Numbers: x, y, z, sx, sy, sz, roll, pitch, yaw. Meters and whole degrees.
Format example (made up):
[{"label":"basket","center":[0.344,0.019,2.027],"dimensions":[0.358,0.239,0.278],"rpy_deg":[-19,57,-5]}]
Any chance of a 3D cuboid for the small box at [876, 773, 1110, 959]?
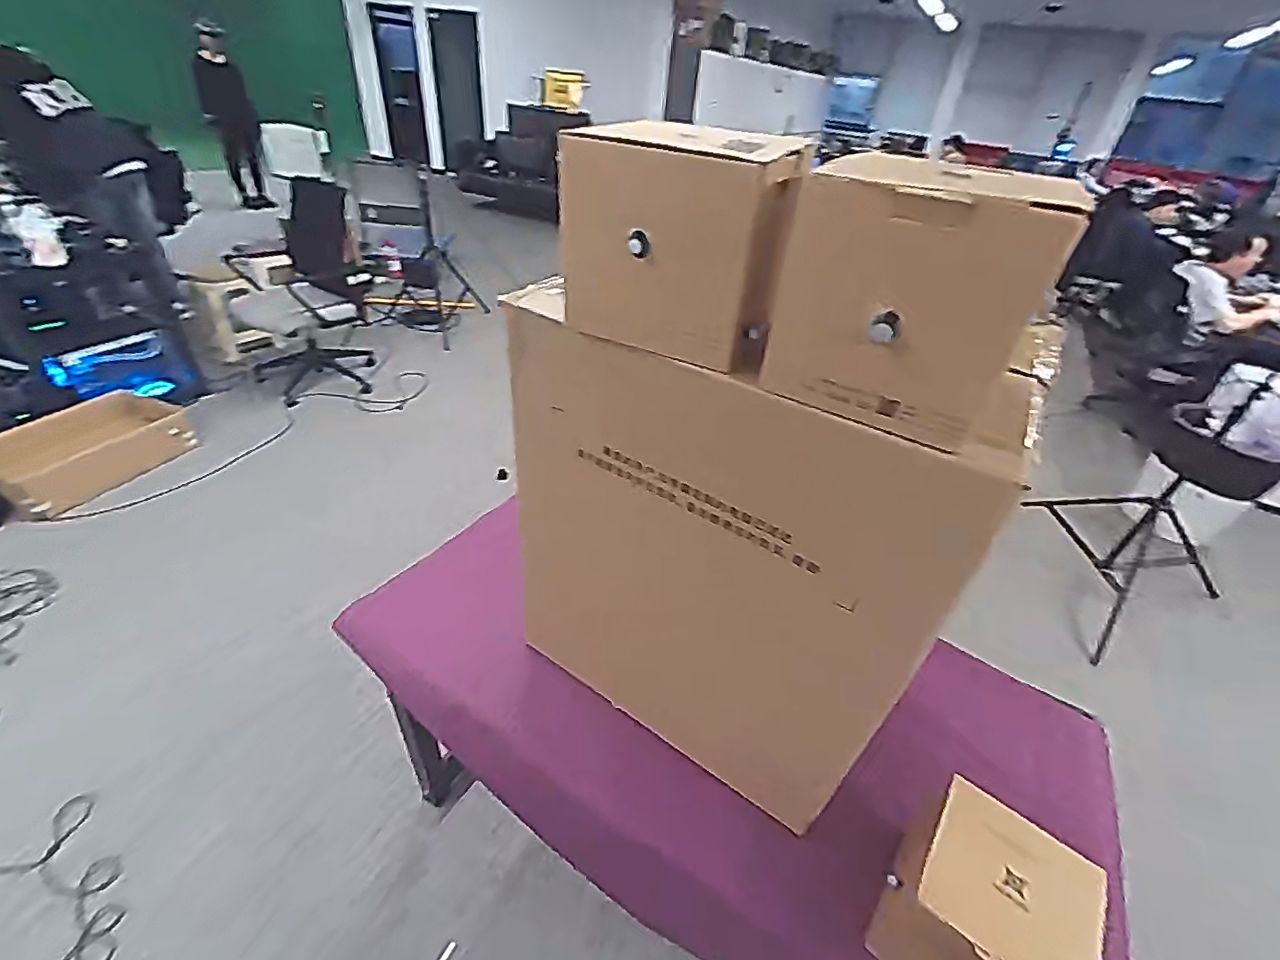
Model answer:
[{"label":"small box","center":[0.401,0.502,0.633],"dimensions":[0.168,0.176,0.179],"rpy_deg":[29,41,27]}]
